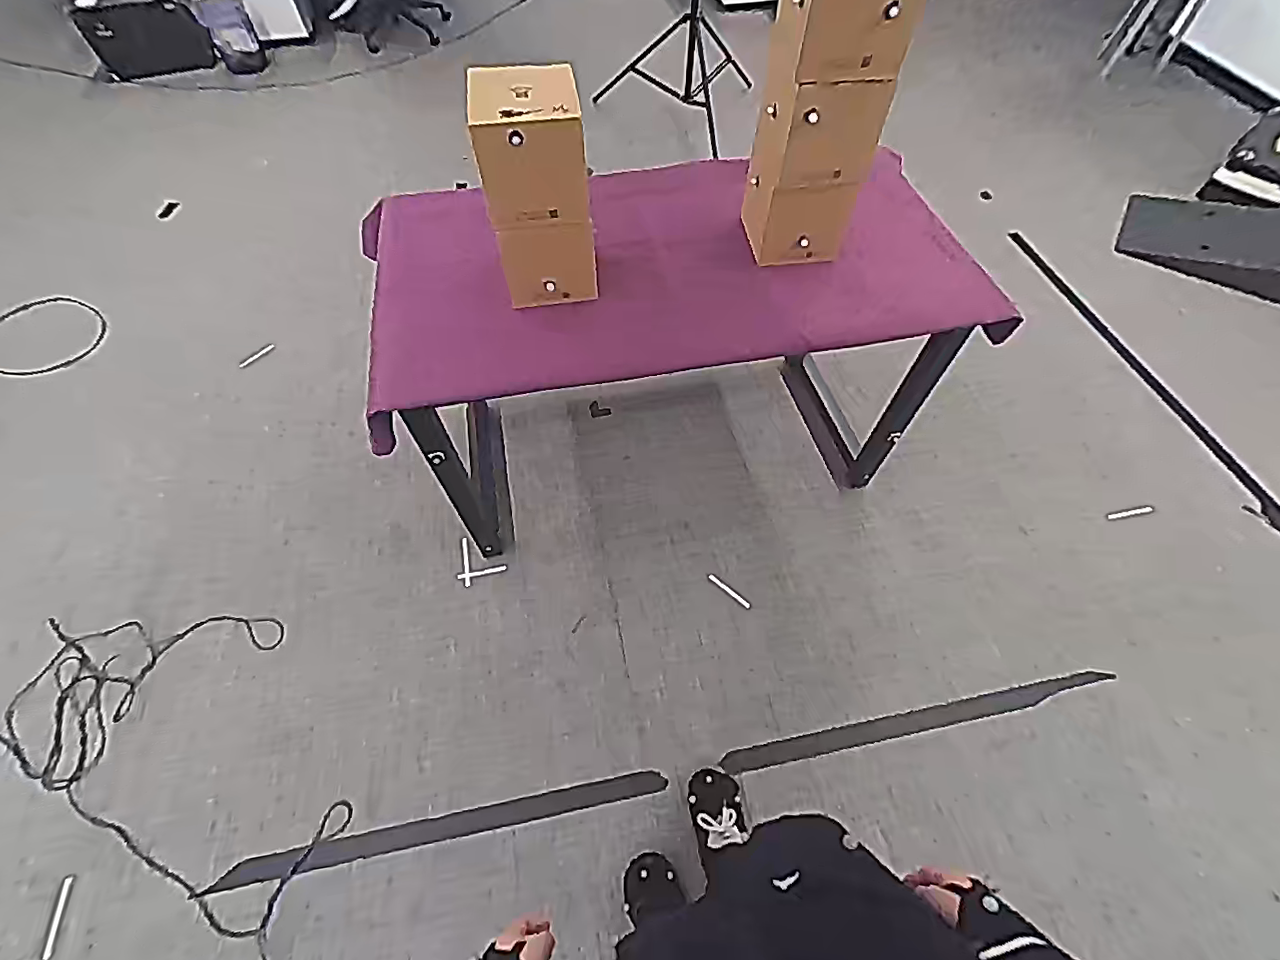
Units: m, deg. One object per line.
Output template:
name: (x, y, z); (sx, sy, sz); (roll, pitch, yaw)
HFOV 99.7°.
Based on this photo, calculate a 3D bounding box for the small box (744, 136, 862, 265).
small box: (0.317, -0.561, 1.093); (0.168, 0.176, 0.179); (-6, 59, -3)

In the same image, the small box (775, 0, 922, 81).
small box: (0.314, -0.727, 0.811); (0.168, 0.176, 0.179); (-3, 57, -3)

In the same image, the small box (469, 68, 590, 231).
small box: (-0.175, -0.538, 0.885); (0.168, 0.176, 0.179); (-8, 58, -5)

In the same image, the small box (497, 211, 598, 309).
small box: (-0.174, -0.452, 1.025); (0.168, 0.176, 0.179); (-9, 60, -5)
